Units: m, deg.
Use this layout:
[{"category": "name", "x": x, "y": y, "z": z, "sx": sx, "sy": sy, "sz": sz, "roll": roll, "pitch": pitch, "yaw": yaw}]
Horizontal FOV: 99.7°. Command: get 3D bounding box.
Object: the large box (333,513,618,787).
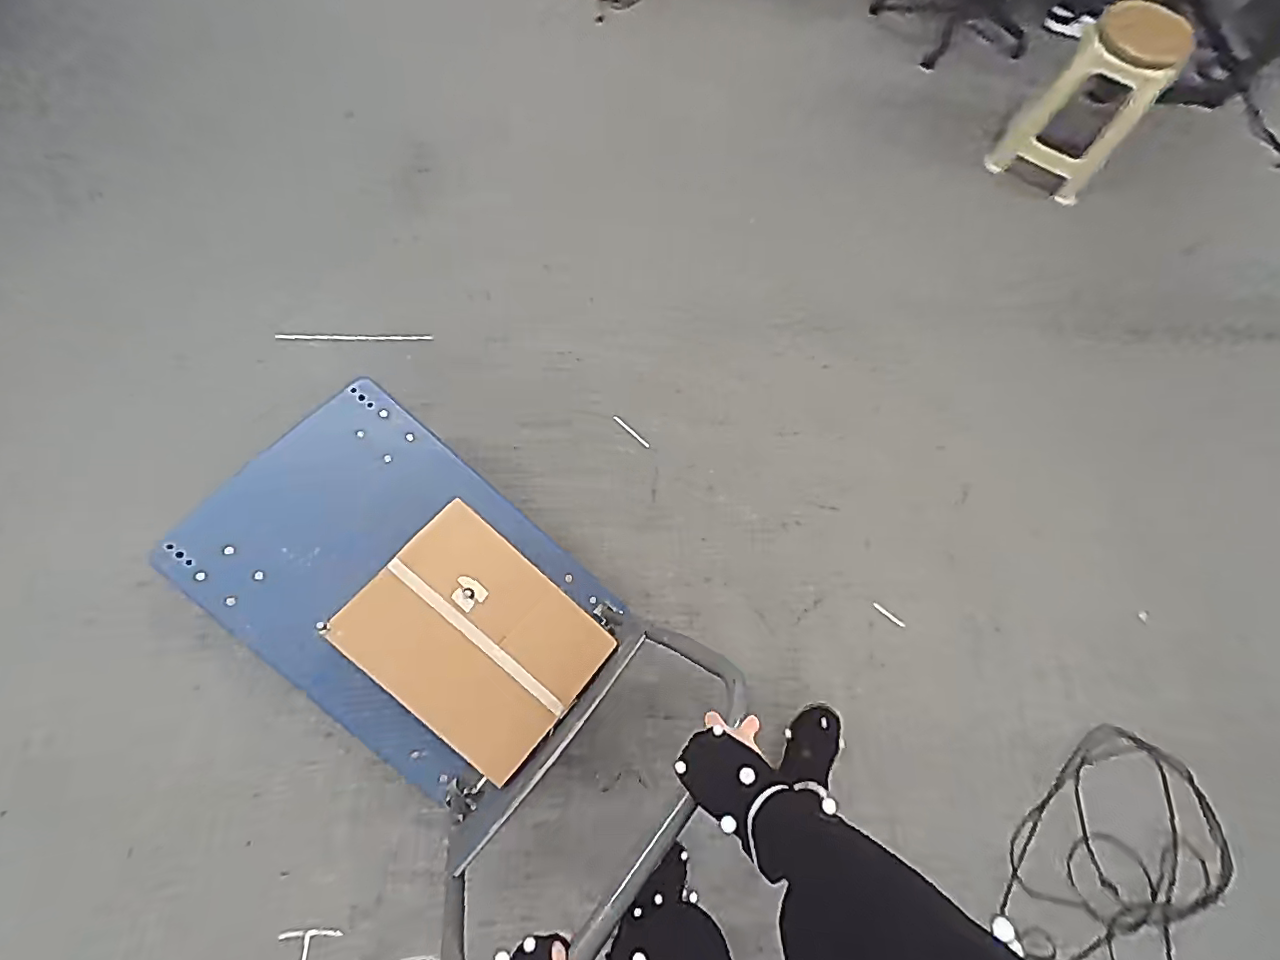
[{"category": "large box", "x": -0.313, "y": 0.325, "z": 1.112, "sx": 0.408, "sy": 0.320, "sz": 0.320, "roll": 42, "pitch": 73, "yaw": -3}]
